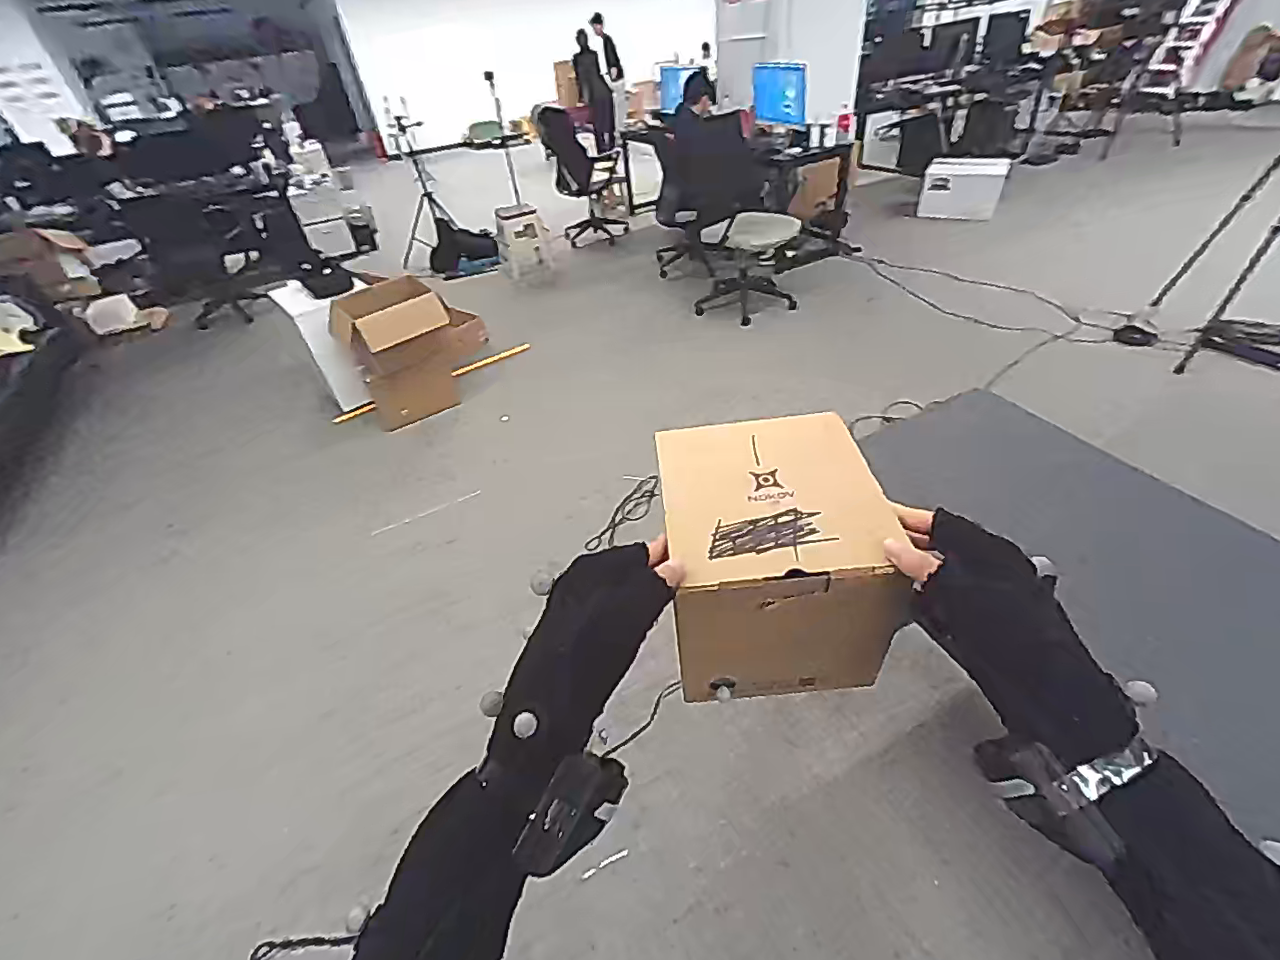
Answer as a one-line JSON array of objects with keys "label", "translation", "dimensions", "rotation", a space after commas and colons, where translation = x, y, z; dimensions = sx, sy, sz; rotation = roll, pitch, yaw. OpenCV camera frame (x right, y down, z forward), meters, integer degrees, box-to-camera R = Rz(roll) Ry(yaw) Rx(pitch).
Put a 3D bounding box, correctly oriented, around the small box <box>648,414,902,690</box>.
[{"label": "small box", "translation": [0.101, 0.067, 0.475], "dimensions": [0.168, 0.176, 0.179], "rotation": [-6, 42, 1]}]
